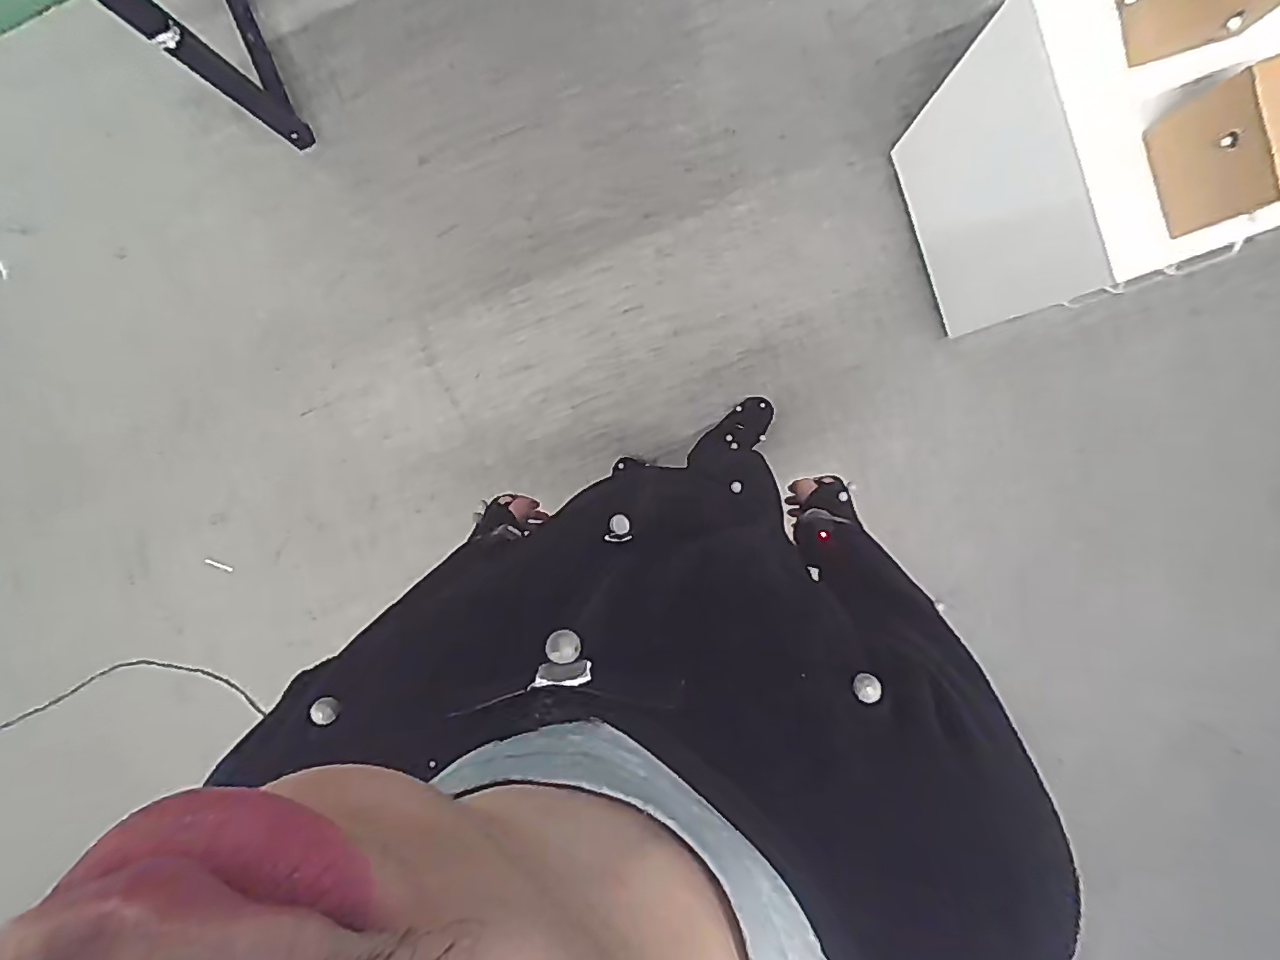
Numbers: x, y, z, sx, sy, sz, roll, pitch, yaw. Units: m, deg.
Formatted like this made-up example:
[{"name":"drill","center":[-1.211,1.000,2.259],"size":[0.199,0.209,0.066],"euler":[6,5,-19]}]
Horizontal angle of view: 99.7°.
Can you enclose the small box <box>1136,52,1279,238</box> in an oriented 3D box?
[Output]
[{"name":"small box","center":[0.886,-0.489,0.787],"size":[0.168,0.176,0.179],"euler":[-20,94,4]}]
